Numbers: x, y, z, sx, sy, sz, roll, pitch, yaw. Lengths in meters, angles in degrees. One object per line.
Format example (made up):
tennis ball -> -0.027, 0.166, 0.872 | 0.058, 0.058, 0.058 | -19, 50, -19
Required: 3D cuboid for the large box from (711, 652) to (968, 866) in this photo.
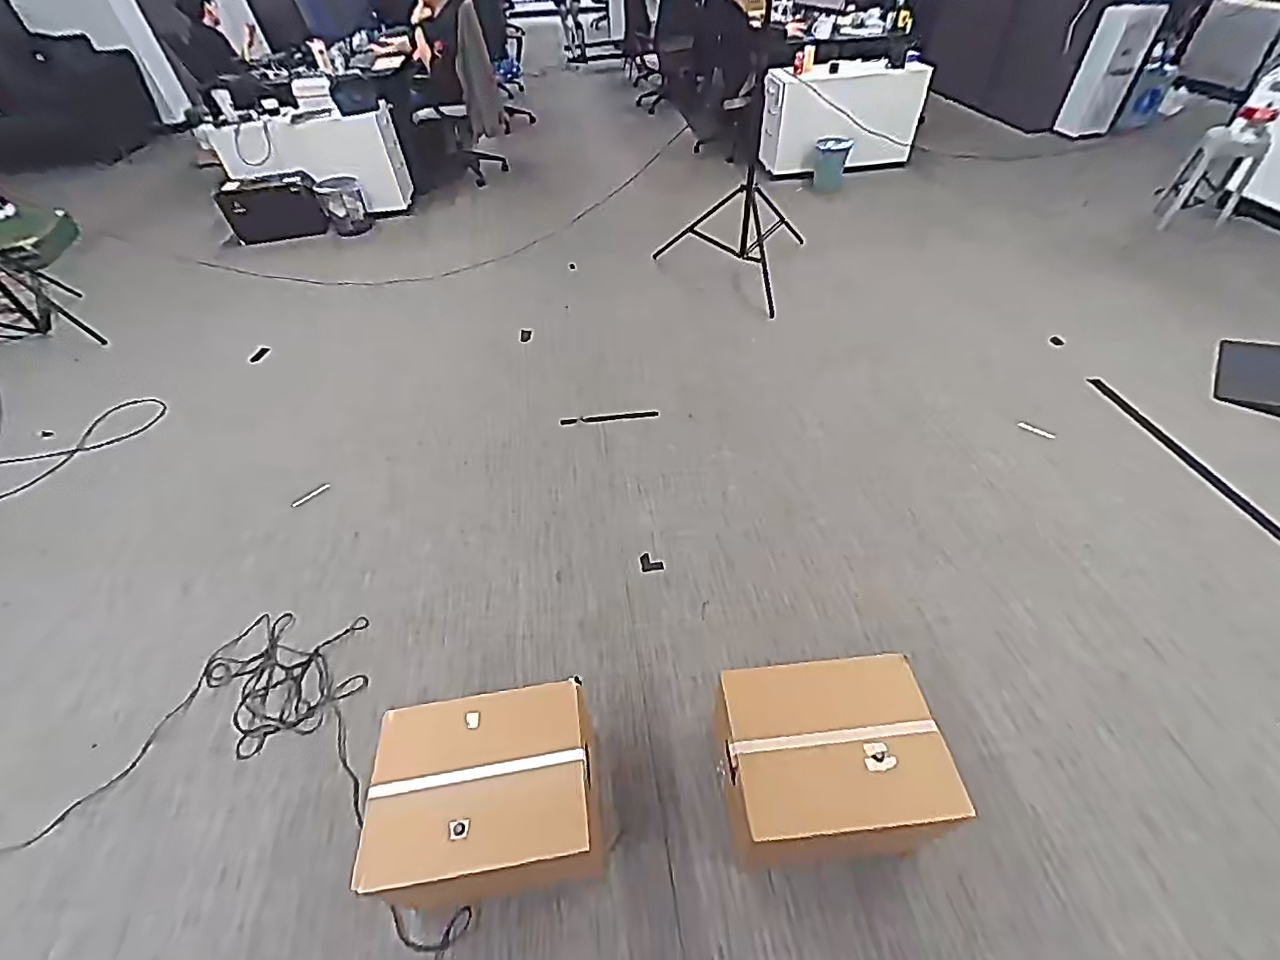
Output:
large box -> 0.388, 0.606, 1.175 | 0.408, 0.320, 0.320 | -5, 47, -2
